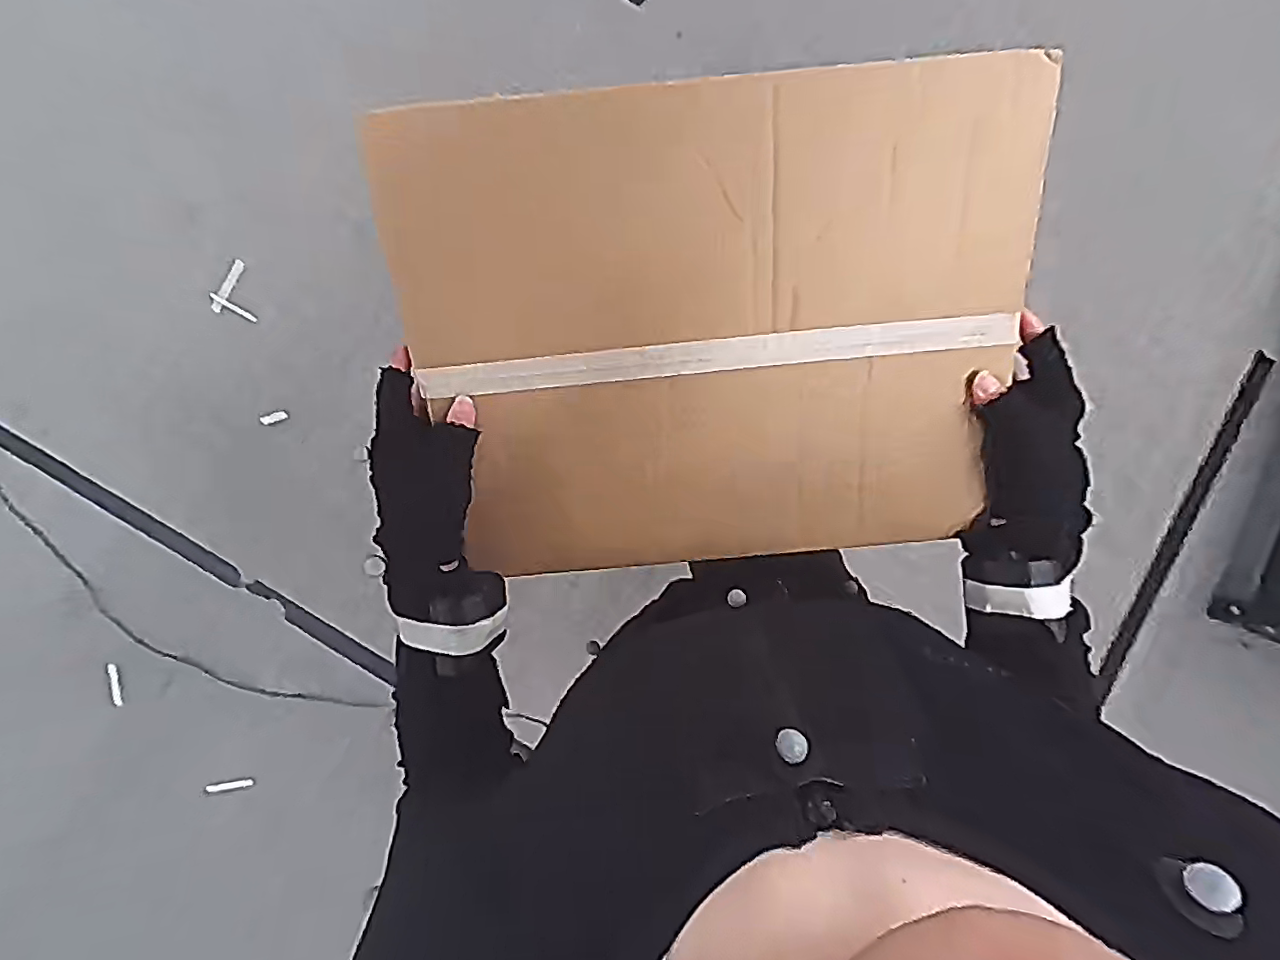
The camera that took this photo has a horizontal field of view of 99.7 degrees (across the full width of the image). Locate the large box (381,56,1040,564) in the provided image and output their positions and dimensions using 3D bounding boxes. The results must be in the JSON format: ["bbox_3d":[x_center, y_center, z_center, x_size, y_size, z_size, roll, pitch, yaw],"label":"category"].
[{"bbox_3d":[0.047,-0.146,0.512,0.408,0.320,0.320,-5,113,0],"label":"large box"}]
